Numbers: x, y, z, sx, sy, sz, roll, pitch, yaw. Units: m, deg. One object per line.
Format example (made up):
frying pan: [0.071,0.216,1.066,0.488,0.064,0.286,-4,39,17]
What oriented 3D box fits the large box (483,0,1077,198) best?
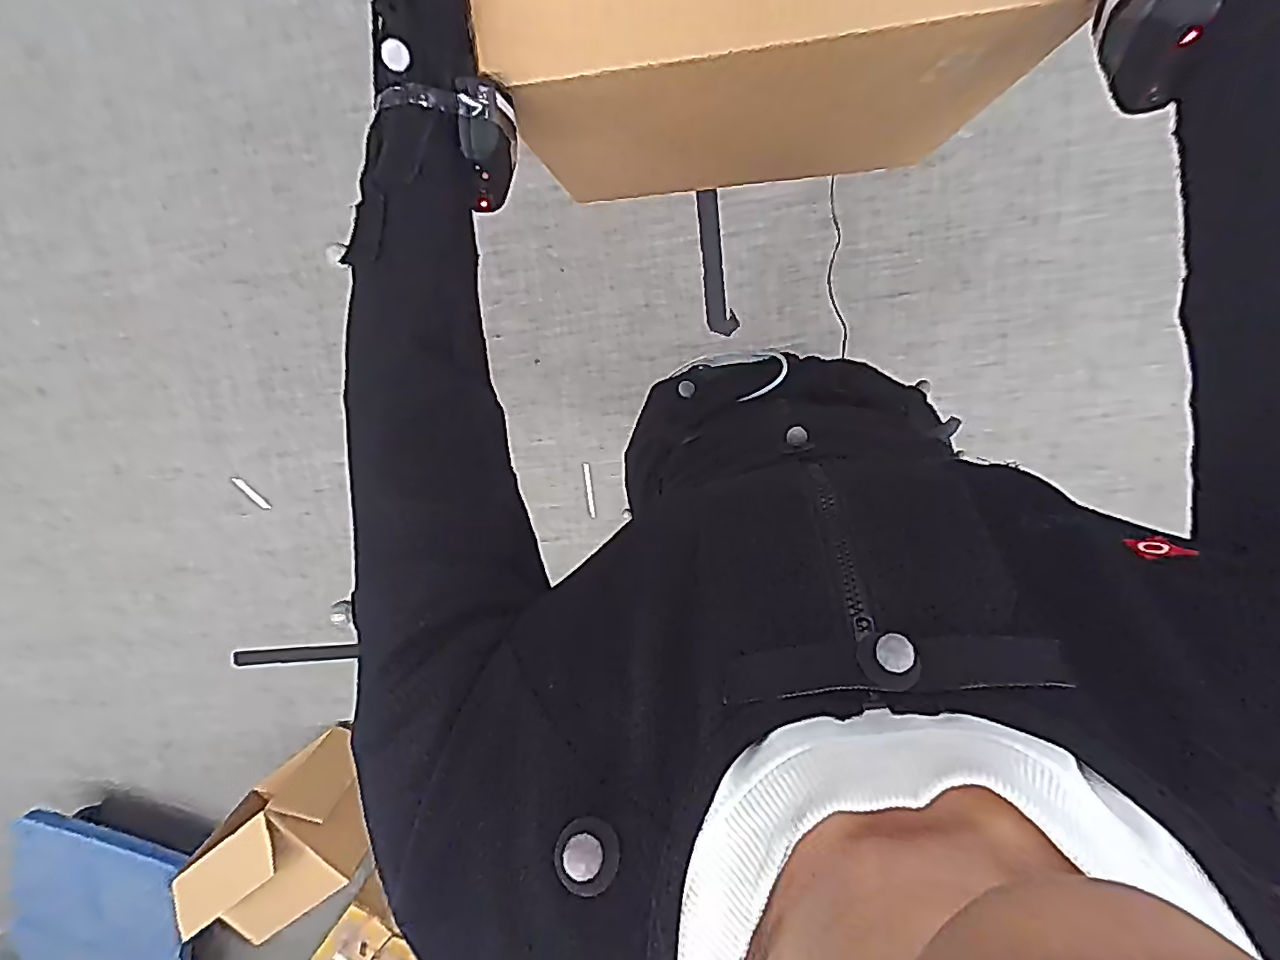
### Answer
large box: [0.091,-0.472,0.465,0.408,0.320,0.320,-4,104,6]
